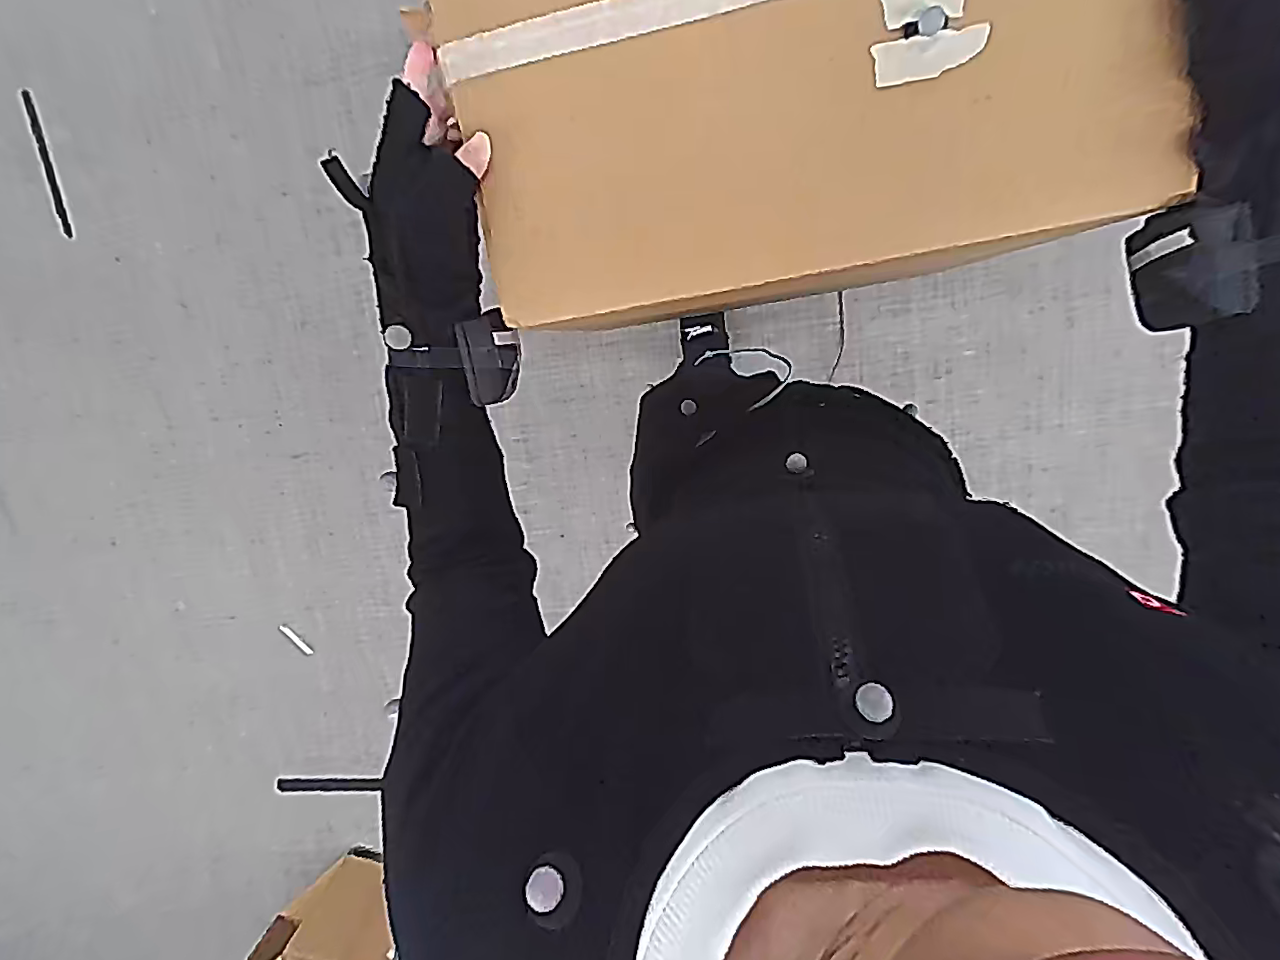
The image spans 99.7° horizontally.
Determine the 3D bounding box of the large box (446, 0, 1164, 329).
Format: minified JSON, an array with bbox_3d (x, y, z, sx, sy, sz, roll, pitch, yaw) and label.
[{"bbox_3d":[0.095,-0.322,0.454,0.408,0.320,0.320,-8,104,8],"label":"large box"}]
